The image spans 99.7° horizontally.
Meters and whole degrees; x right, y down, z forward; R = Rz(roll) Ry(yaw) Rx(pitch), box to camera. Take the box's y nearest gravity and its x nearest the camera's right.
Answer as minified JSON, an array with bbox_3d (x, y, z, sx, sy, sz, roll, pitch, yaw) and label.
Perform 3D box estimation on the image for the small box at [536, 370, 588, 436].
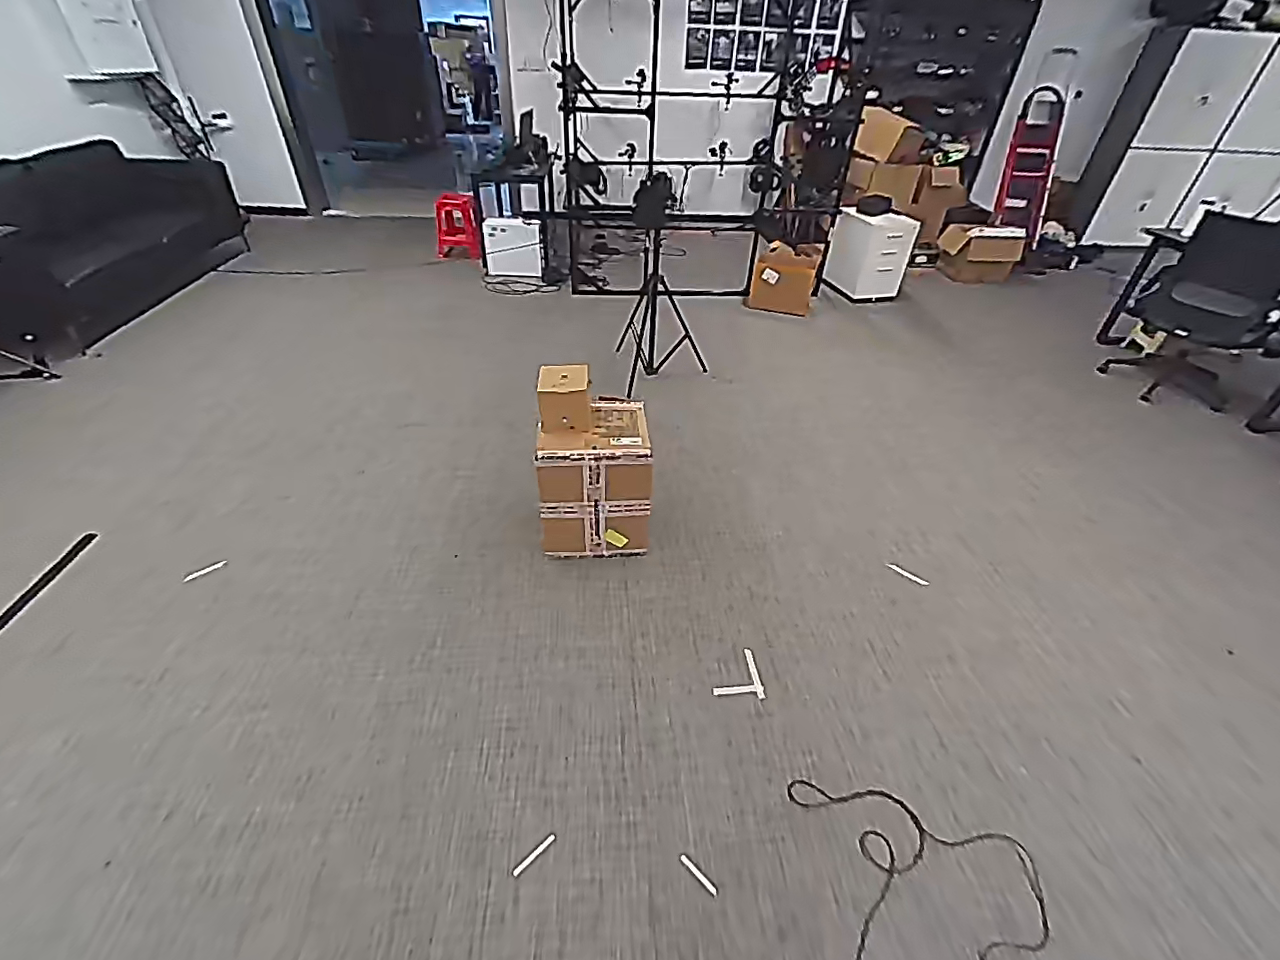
[{"bbox_3d":[-0.269,-0.273,1.899,0.168,0.176,0.179,-2,41,-3],"label":"small box"}]
